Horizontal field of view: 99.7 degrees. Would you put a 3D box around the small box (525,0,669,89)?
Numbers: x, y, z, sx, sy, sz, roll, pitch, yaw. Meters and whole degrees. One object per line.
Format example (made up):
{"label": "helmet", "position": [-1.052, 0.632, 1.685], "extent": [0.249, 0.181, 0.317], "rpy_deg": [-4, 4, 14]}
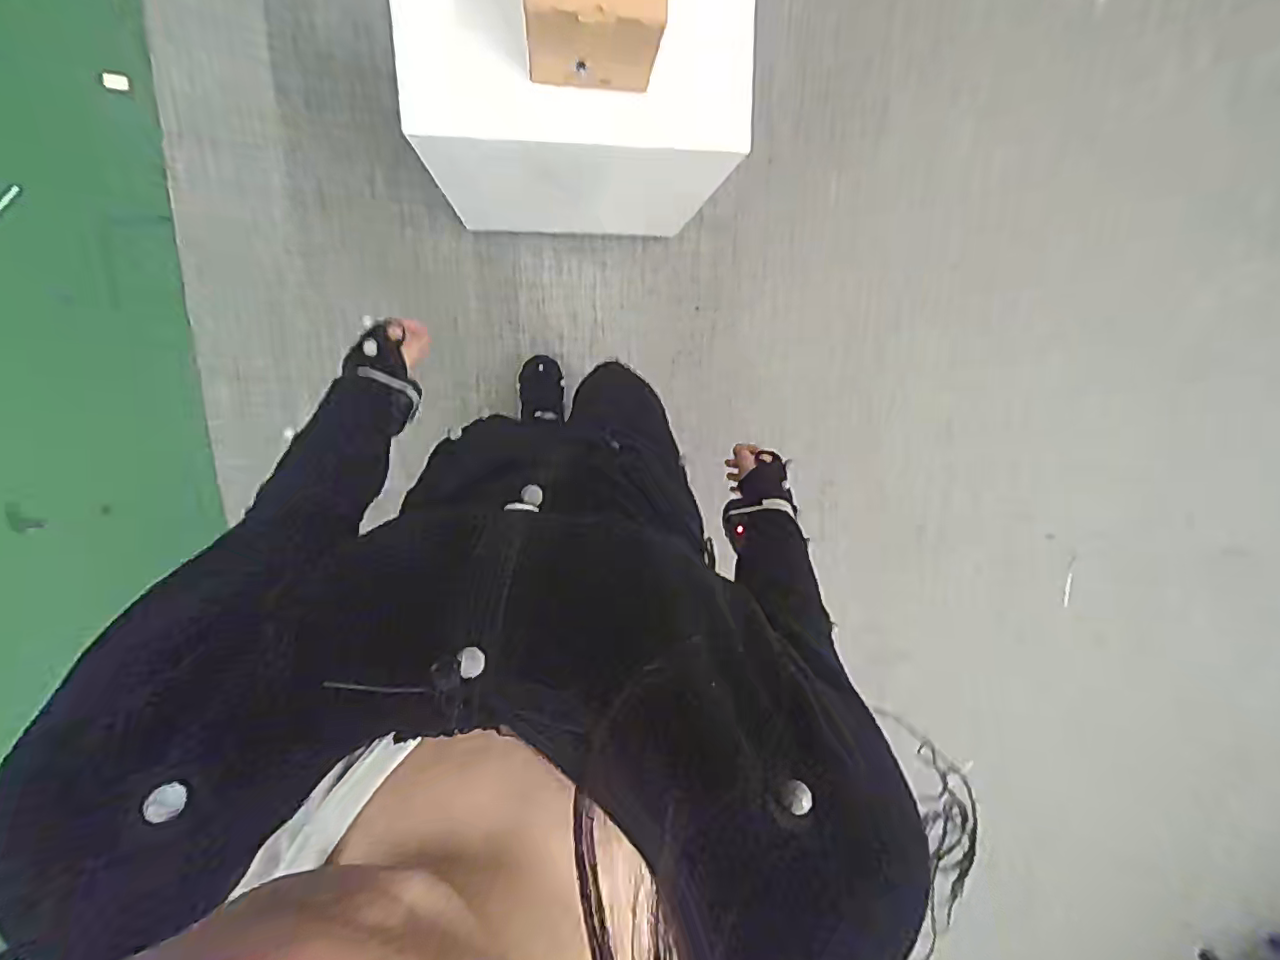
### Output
{"label": "small box", "position": [-0.058, -0.628, 0.667], "extent": [0.168, 0.176, 0.179], "rpy_deg": [-1, 101, -8]}
